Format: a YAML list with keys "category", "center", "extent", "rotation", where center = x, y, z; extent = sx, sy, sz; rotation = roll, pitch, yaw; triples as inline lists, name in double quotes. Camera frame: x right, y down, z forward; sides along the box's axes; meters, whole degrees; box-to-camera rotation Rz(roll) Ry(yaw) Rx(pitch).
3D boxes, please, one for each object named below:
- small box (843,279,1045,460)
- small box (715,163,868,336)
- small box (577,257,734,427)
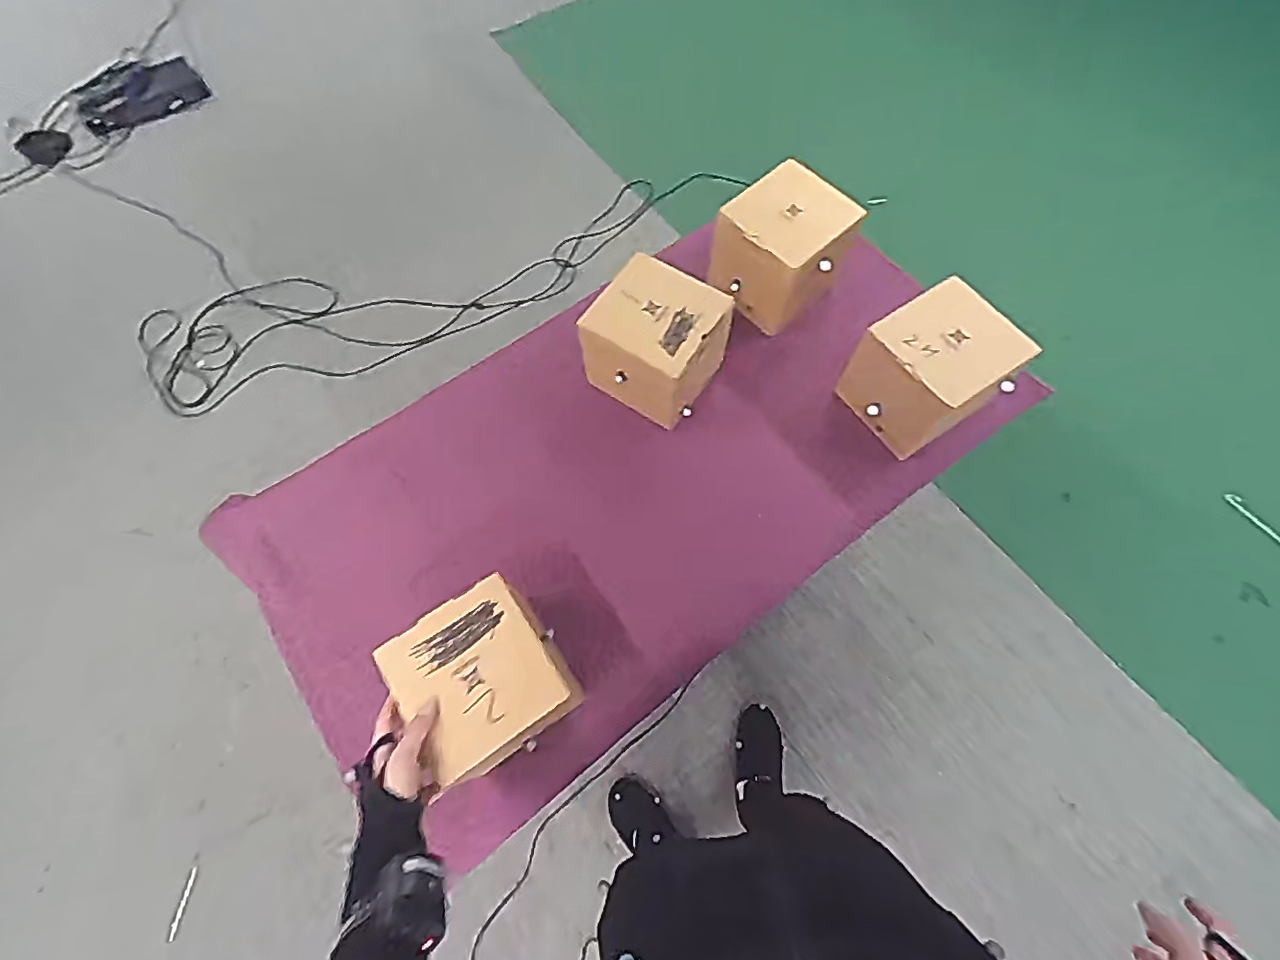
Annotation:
- category: "small box"
  center: [0.446, -0.161, 0.826]
  extent: [0.179, 0.176, 0.168]
  rotation: [-31, 69, -10]
- category: "small box"
  center: [0.245, -0.387, 0.927]
  extent: [0.179, 0.176, 0.168]
  rotation: [-41, 73, -12]
- category: "small box"
  center: [0.026, -0.208, 0.862]
  extent: [0.179, 0.176, 0.168]
  rotation: [32, 72, 14]
